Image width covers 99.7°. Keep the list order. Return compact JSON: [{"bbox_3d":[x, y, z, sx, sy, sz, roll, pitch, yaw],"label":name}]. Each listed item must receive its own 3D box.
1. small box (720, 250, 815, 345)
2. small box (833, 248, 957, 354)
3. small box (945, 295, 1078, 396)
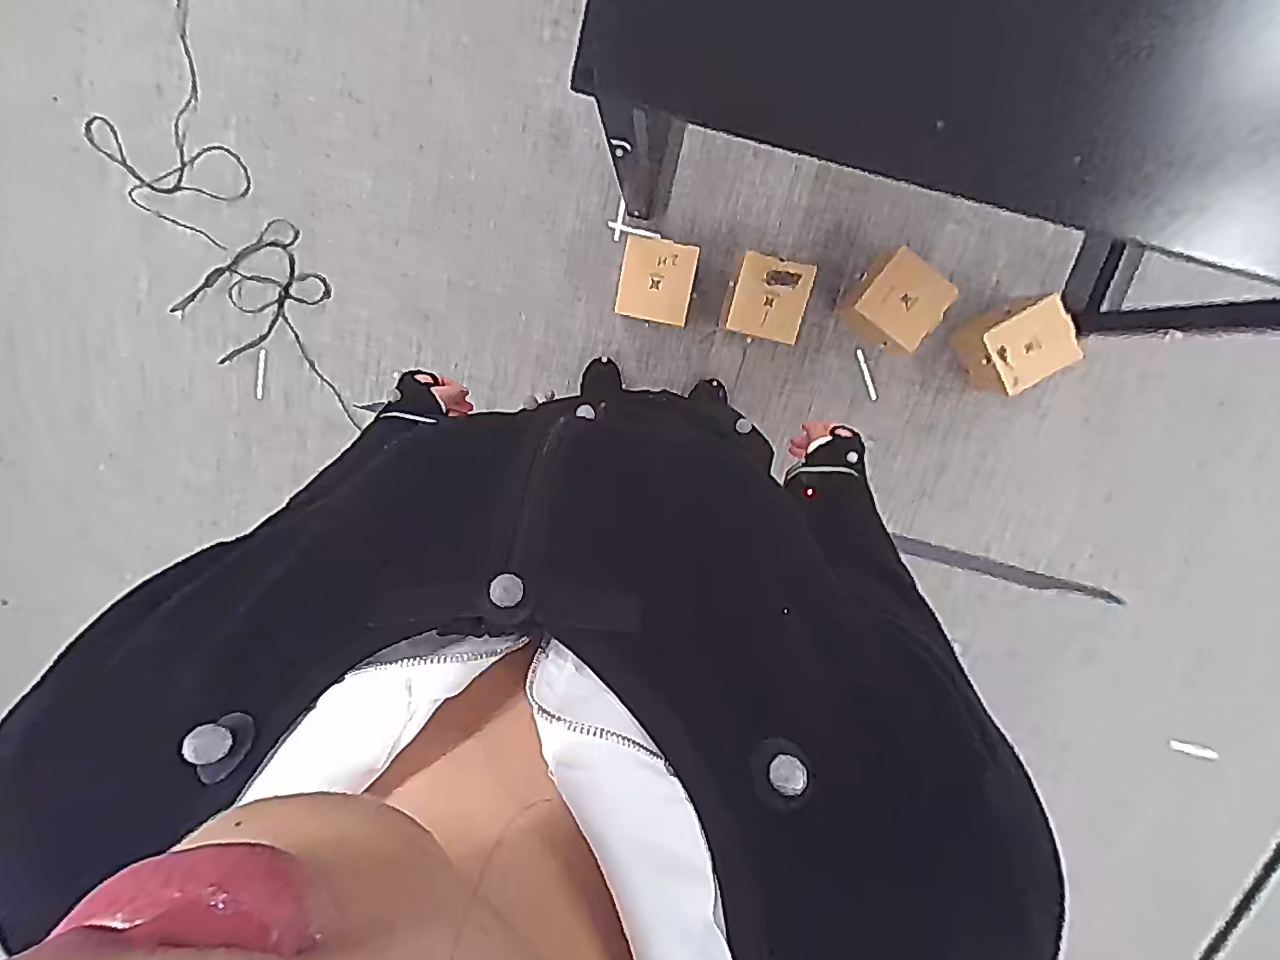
[{"bbox_3d":[0.296,-0.433,1.301,0.168,0.176,0.179,14,106,-1],"label":"small box"},{"bbox_3d":[0.597,-0.422,1.292,0.179,0.176,0.168,35,102,-5],"label":"small box"},{"bbox_3d":[0.884,-0.323,1.300,0.179,0.176,0.168,-31,101,10],"label":"small box"}]
